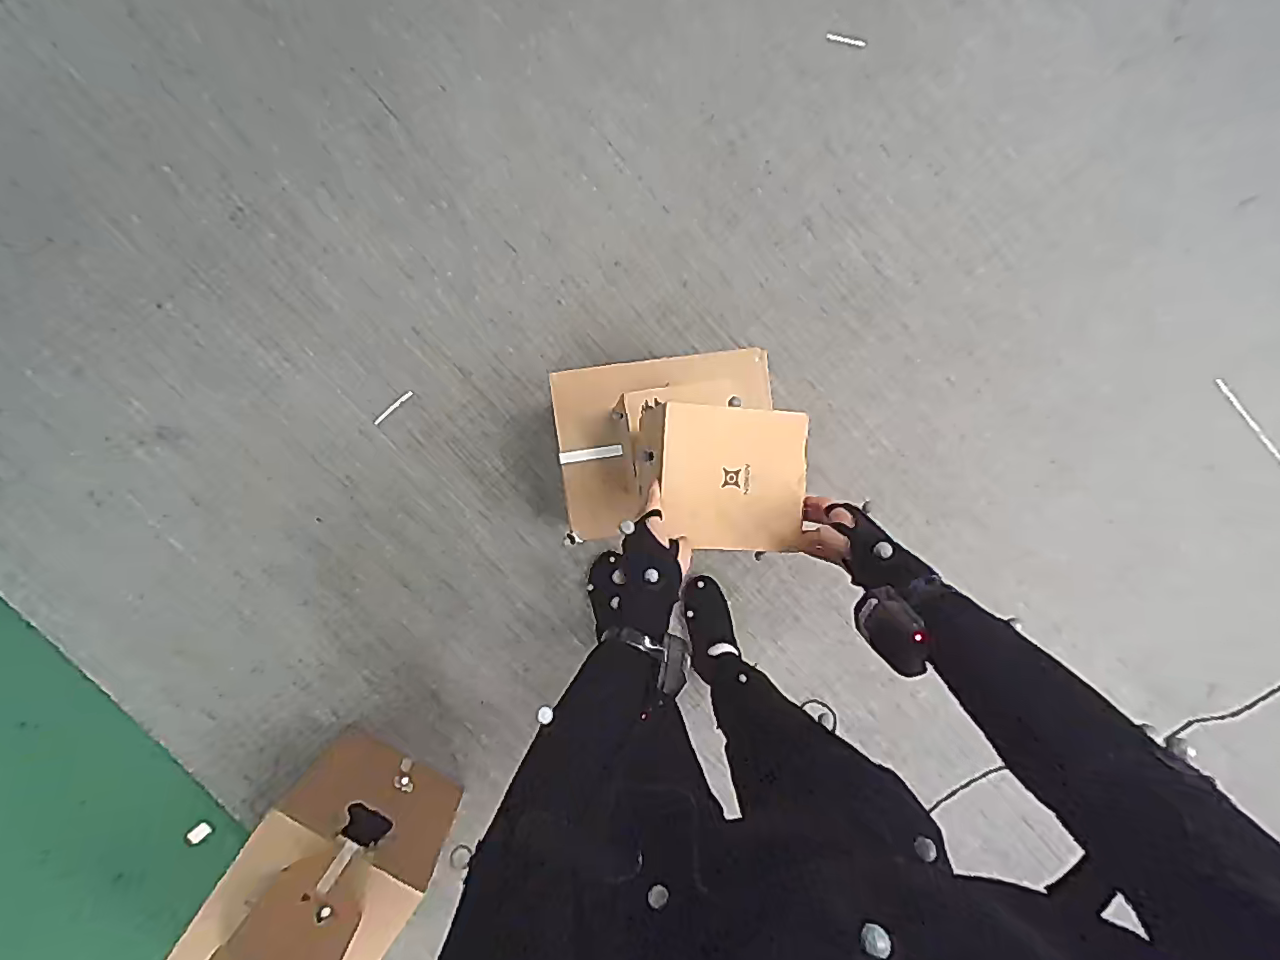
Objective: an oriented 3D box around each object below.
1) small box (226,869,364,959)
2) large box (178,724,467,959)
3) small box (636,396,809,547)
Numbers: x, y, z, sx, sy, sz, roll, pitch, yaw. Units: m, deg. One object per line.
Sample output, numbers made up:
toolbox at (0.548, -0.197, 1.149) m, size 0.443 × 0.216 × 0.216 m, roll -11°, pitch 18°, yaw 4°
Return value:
small box at (-0.579, 0.783, 0.856) m, size 0.168 × 0.176 × 0.179 m, roll 37°, pitch 87°, yaw -6°
large box at (-0.616, 0.803, 1.099) m, size 0.320 × 0.320 × 0.408 m, roll 34°, pitch 89°, yaw -4°
small box at (0.094, -0.008, 0.693) m, size 0.179 × 0.176 × 0.168 m, roll 3°, pitch 90°, yaw -11°
